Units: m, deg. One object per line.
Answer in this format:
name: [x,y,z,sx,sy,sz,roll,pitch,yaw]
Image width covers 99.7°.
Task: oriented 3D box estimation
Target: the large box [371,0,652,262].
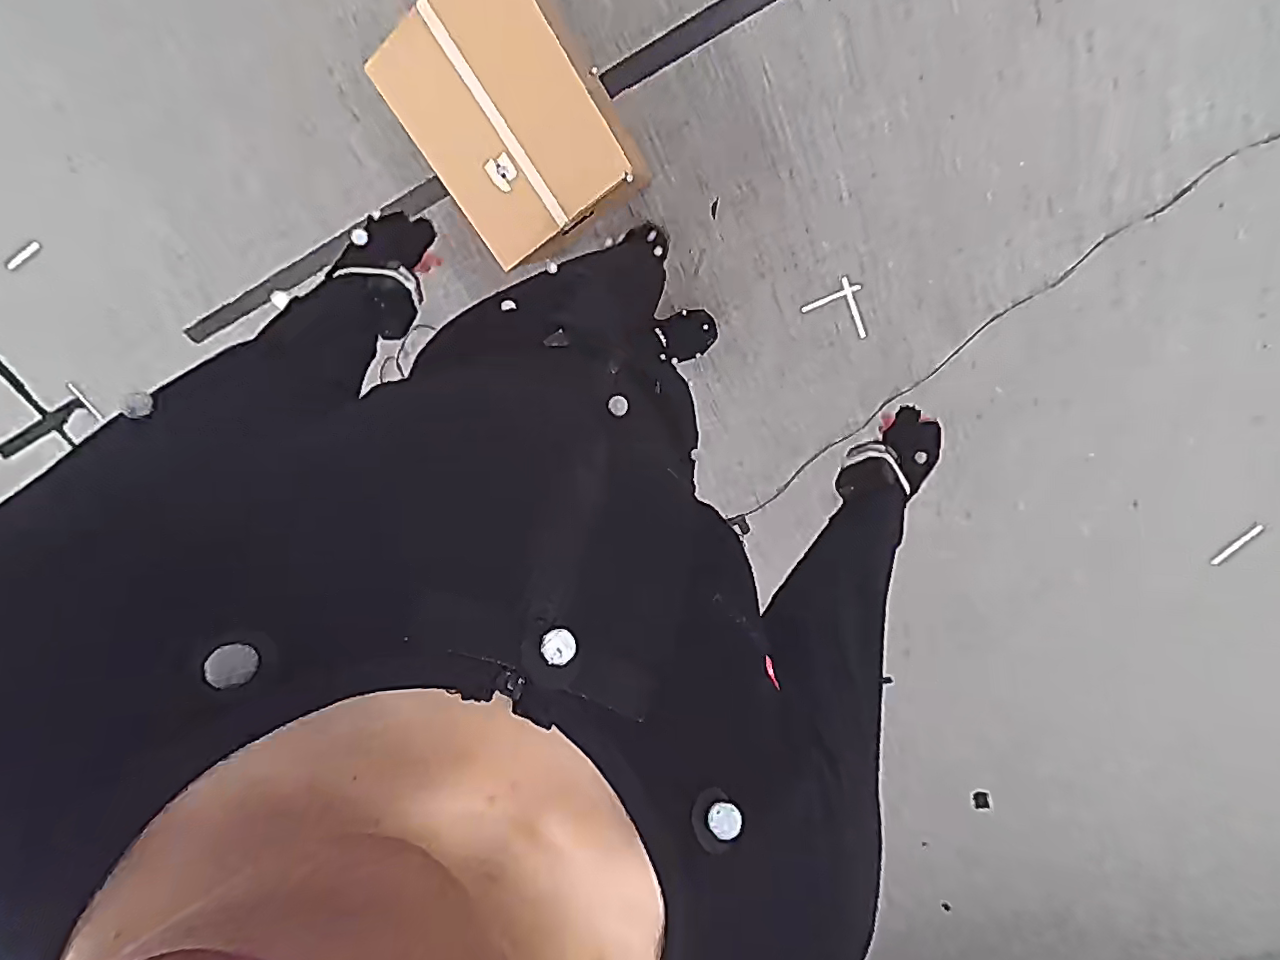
large box: [-0.221,-0.716,1.082,0.320,0.320,0.408,-28,111,22]
